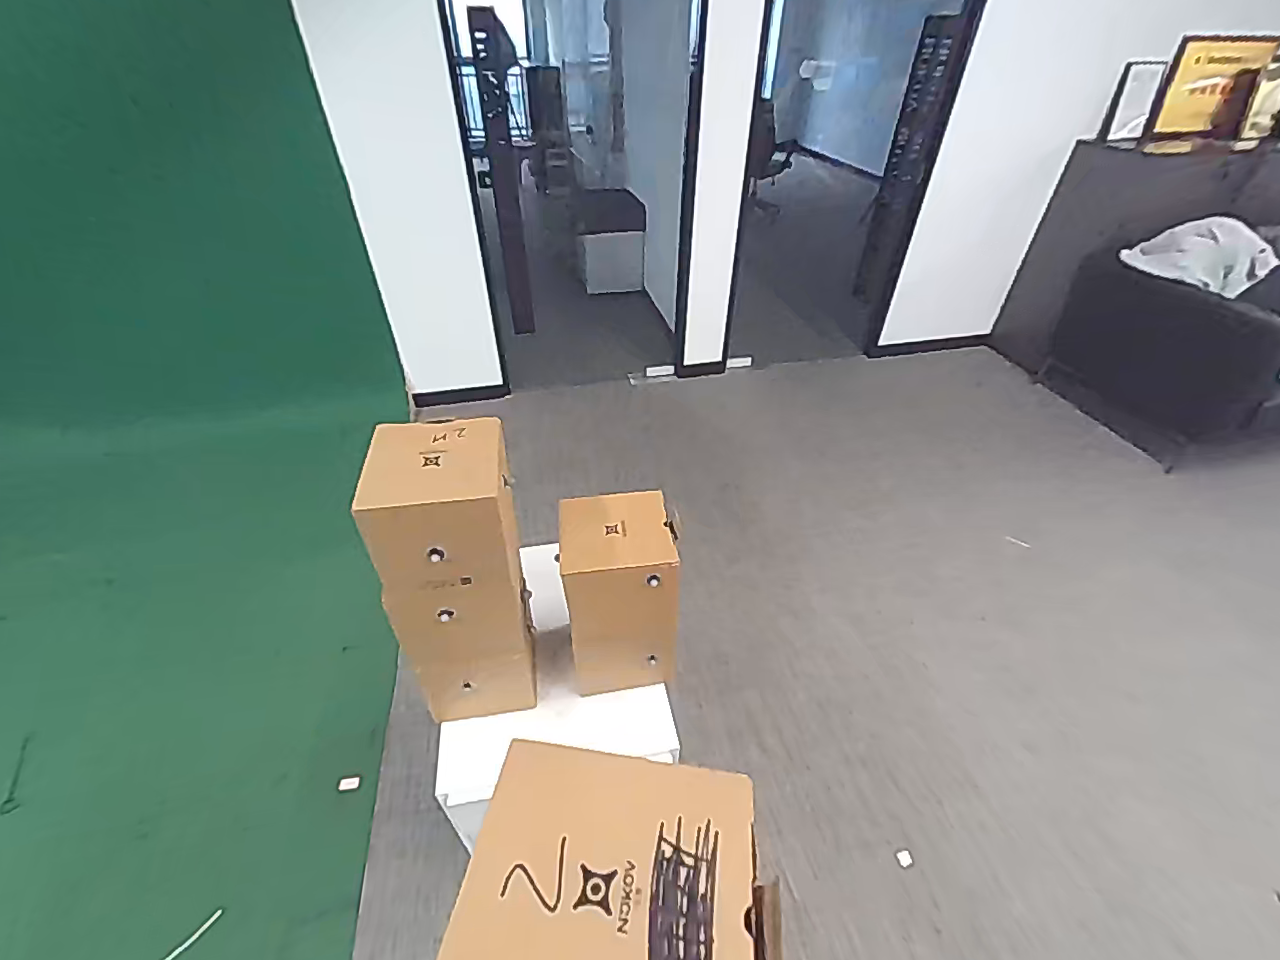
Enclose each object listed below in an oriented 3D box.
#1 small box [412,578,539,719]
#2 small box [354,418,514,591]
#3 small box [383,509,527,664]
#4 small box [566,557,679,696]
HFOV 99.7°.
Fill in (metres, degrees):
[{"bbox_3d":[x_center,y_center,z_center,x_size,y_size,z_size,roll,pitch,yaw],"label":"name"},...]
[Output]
[{"bbox_3d":[-0.276,0.294,0.944,0.179,0.176,0.168,-6,41,-9],"label":"small box"},{"bbox_3d":[-0.264,0.036,0.740,0.168,0.176,0.179,-5,41,-10],"label":"small box"},{"bbox_3d":[-0.273,0.165,0.841,0.179,0.176,0.168,-5,40,-10],"label":"small box"},{"bbox_3d":[-0.035,0.267,0.984,0.179,0.176,0.168,-8,40,-8],"label":"small box"}]
